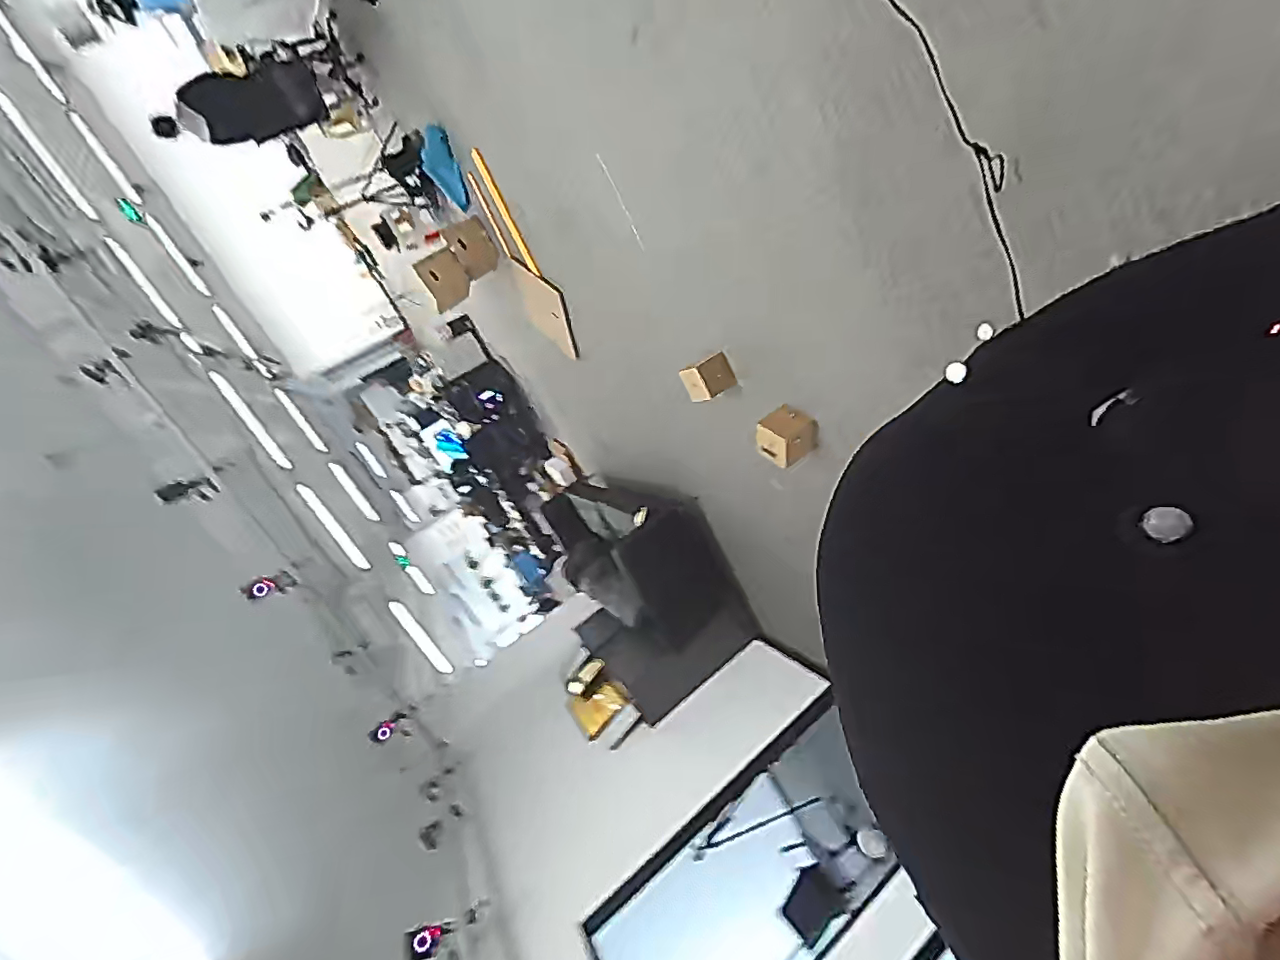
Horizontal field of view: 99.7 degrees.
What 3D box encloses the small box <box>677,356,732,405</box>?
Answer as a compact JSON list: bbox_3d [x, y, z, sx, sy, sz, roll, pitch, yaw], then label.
[{"bbox_3d":[0.311,-0.471,2.546,0.168,0.176,0.179,62,162,-14],"label":"small box"}]
